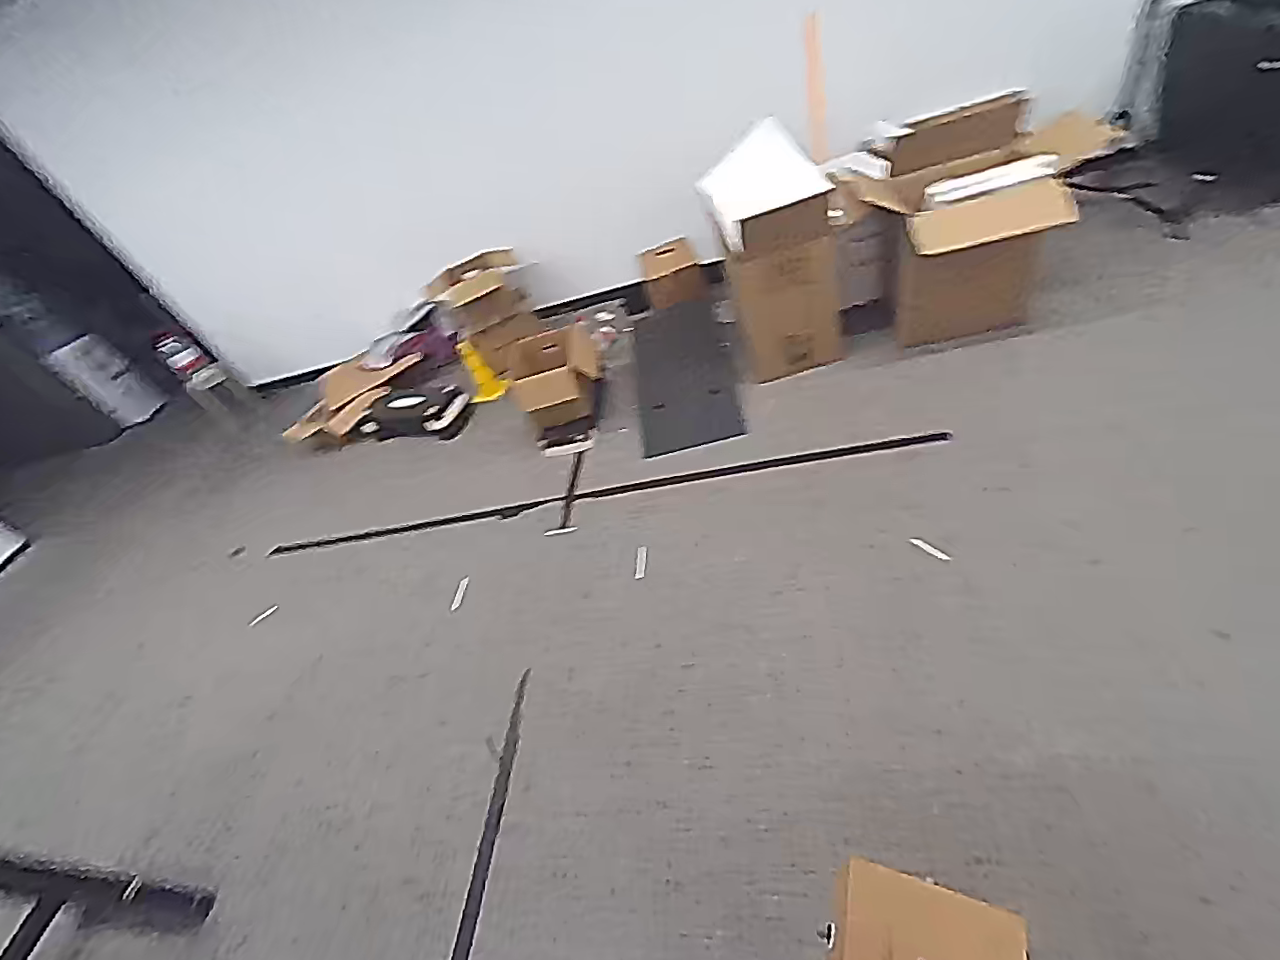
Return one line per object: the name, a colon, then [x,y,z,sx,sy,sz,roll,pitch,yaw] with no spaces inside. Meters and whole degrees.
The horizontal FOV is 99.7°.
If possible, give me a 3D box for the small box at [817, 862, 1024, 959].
small box: [0.296,0.558,0.595,0.179,0.176,0.168,10,48,17]
